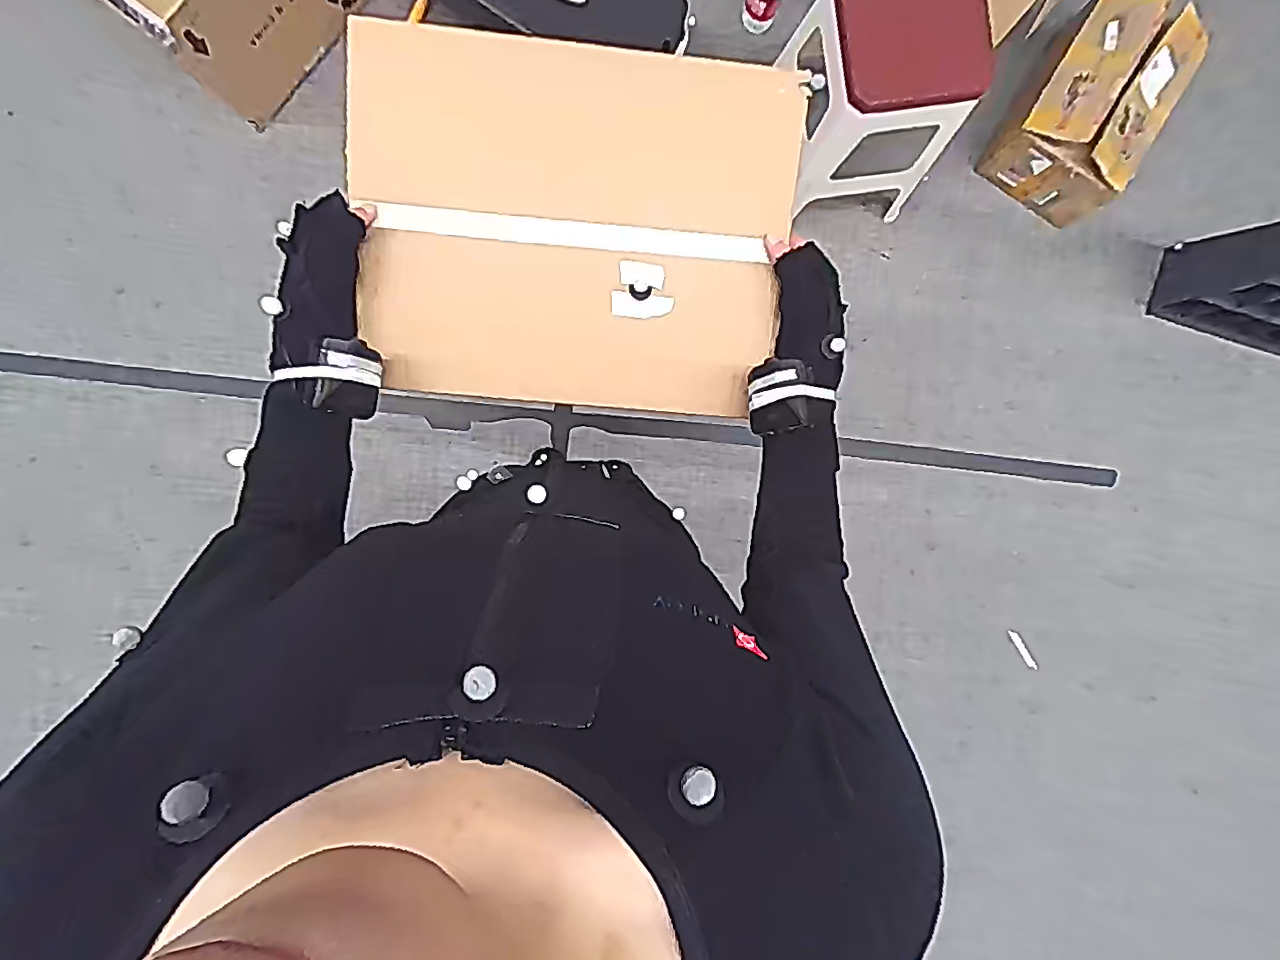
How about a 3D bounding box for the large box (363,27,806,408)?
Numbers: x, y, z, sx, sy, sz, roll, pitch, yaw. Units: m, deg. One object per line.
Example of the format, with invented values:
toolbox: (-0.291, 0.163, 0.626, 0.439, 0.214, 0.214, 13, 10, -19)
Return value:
large box: (-0.064, -0.261, 0.654, 0.408, 0.320, 0.320, 4, 101, -4)
